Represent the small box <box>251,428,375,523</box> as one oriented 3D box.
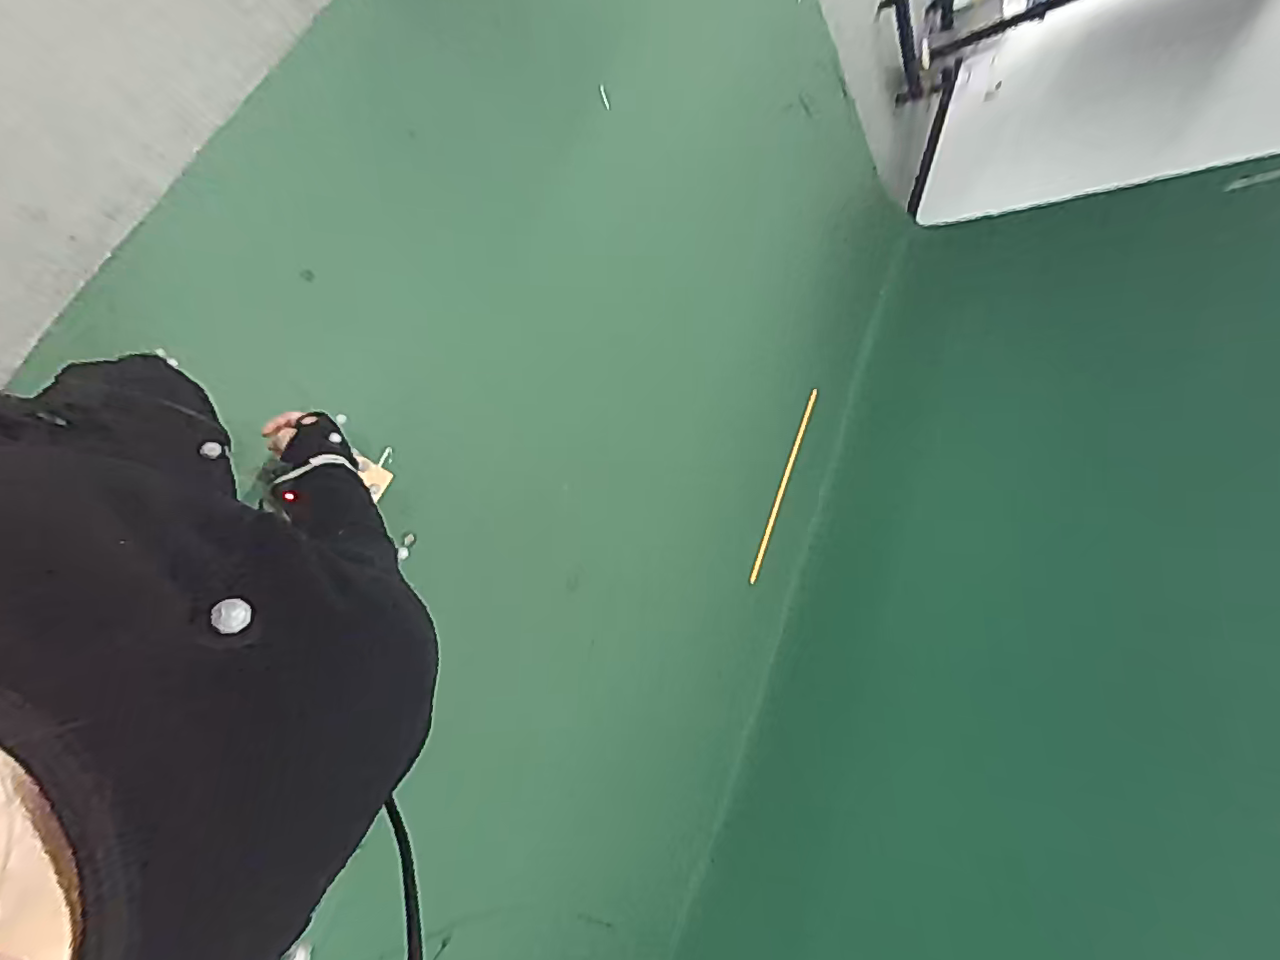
[{"bbox_3d":[-0.792,-0.017,1.310,0.179,0.176,0.168,43,65,-42],"label":"small box"}]
